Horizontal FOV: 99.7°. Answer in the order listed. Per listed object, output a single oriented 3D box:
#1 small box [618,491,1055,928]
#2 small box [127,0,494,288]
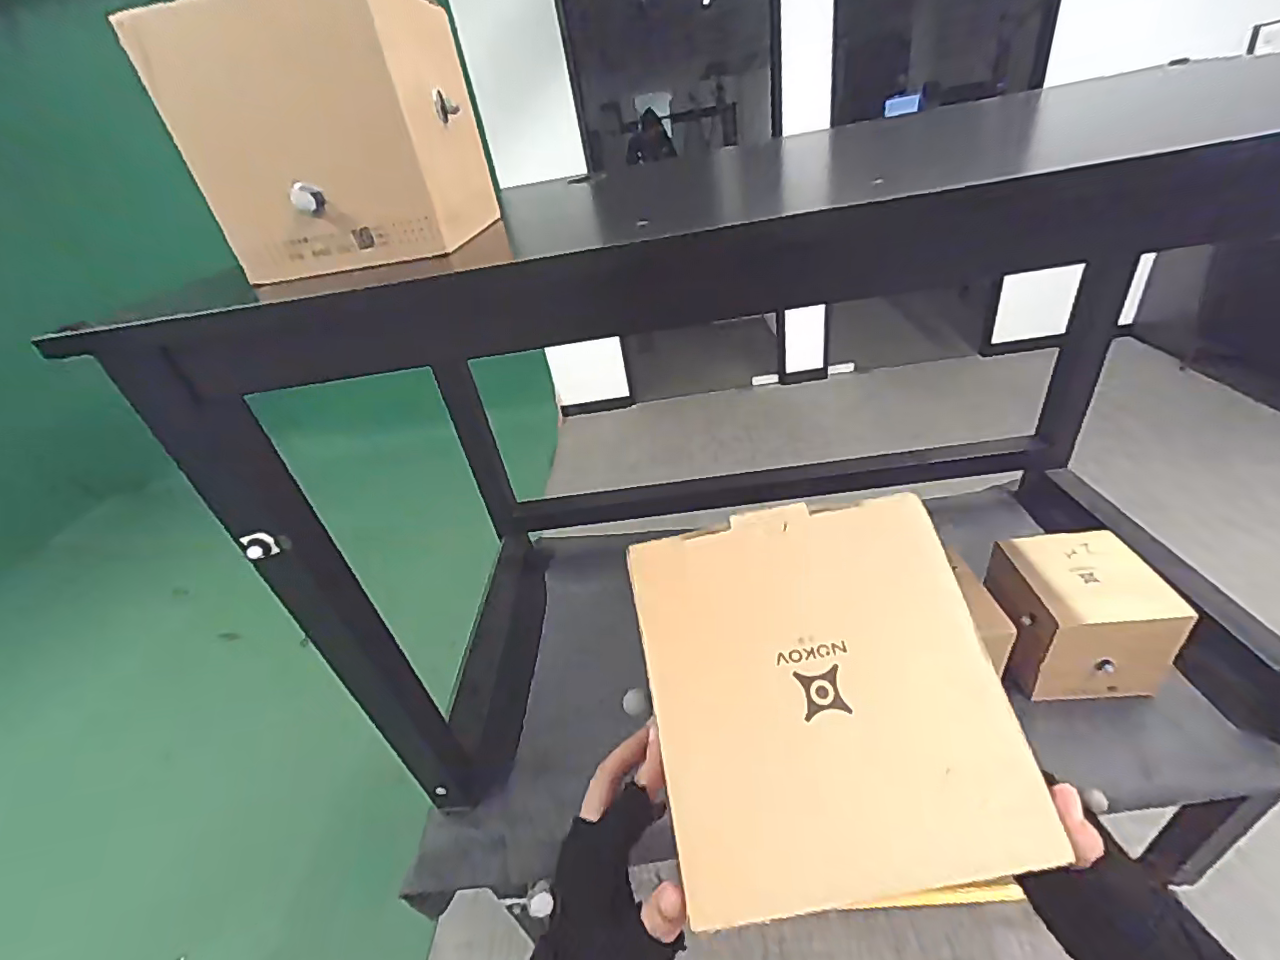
[{"bbox_3d":[0.089,0.131,0.334,0.168,0.176,0.179,-11,63,0],"label":"small box"},{"bbox_3d":[-0.236,-0.272,0.450,0.168,0.176,0.179,-7,34,6],"label":"small box"}]
